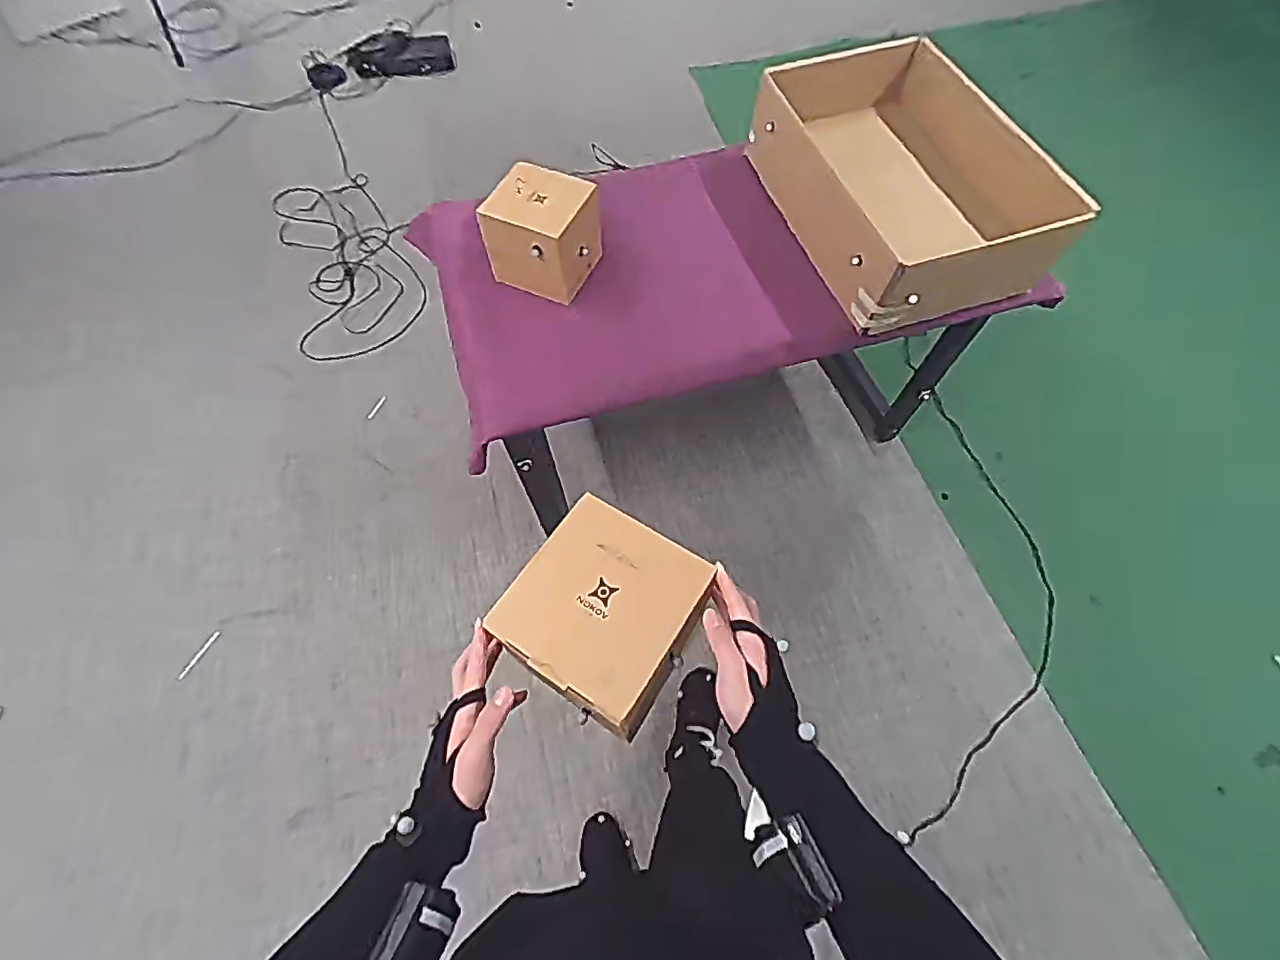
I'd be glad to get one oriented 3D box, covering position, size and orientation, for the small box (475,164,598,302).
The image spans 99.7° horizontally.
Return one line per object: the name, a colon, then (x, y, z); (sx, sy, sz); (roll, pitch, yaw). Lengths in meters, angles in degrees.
small box: (-0.196, -0.487, 1.086); (0.179, 0.176, 0.168); (22, 65, 10)
